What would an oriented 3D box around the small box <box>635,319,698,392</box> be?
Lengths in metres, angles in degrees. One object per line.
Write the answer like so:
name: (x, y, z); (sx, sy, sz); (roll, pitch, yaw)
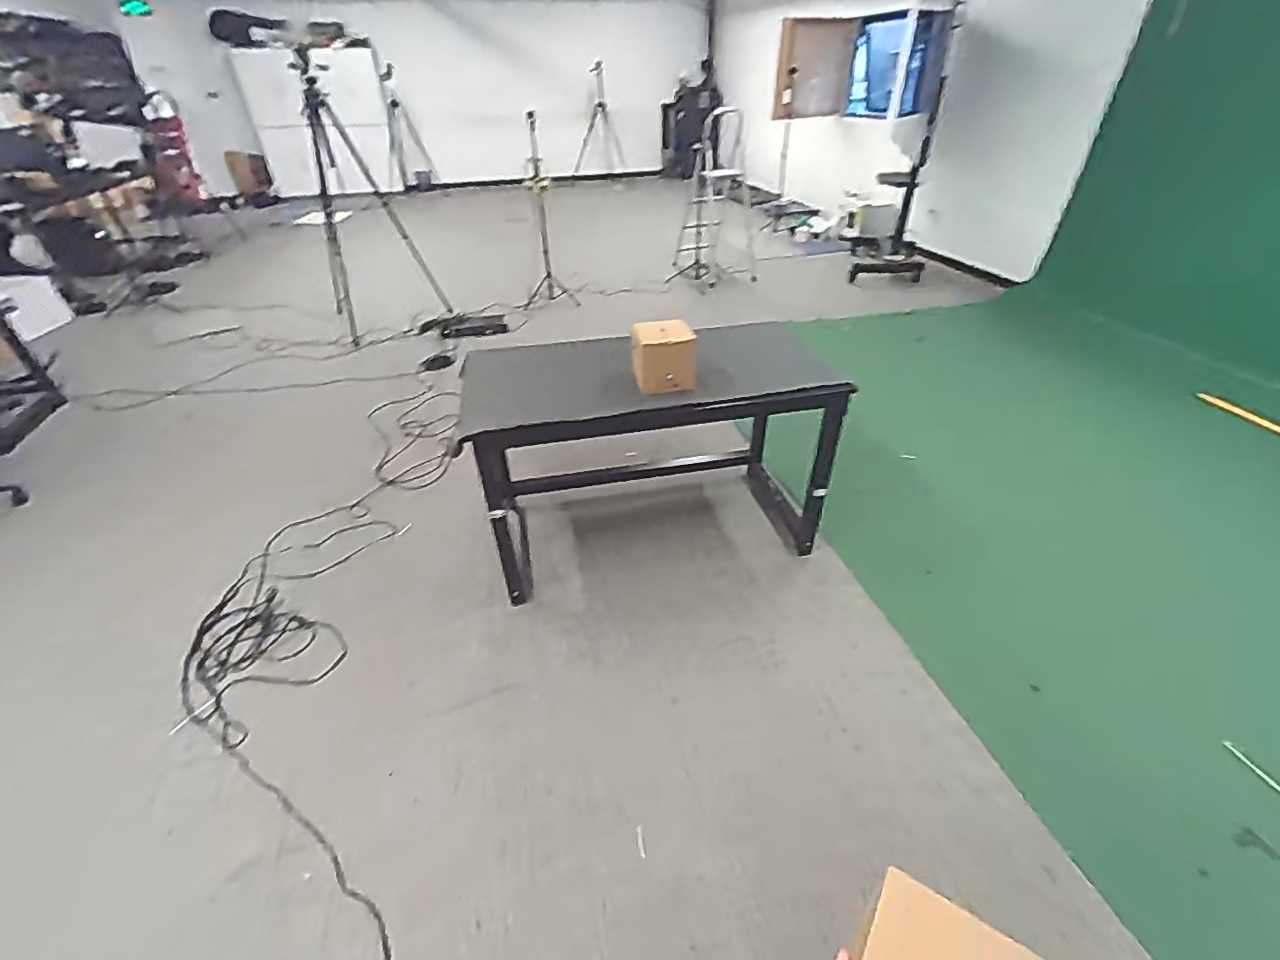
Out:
small box: (0.079, -0.393, 1.707); (0.168, 0.176, 0.179); (-8, 37, -8)
